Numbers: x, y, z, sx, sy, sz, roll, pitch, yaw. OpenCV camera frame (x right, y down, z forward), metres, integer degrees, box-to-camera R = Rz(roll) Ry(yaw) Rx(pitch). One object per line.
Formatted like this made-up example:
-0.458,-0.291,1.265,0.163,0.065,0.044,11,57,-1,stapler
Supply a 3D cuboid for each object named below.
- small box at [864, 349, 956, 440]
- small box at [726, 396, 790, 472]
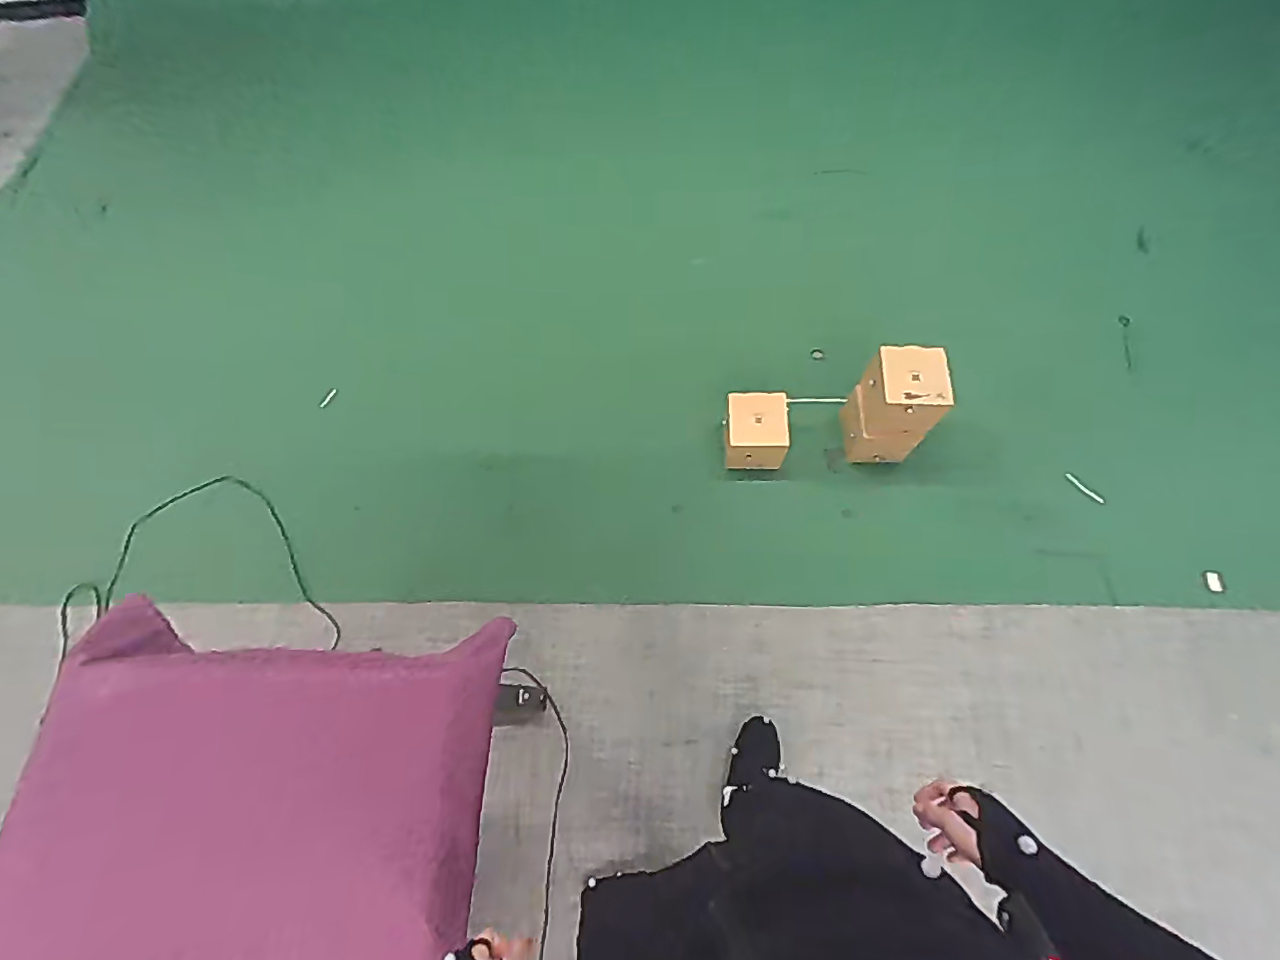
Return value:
0.713,-0.227,1.449,0.168,0.176,0.179,3,67,5,small box
0.349,-0.132,1.614,0.168,0.176,0.179,0,66,4,small box
